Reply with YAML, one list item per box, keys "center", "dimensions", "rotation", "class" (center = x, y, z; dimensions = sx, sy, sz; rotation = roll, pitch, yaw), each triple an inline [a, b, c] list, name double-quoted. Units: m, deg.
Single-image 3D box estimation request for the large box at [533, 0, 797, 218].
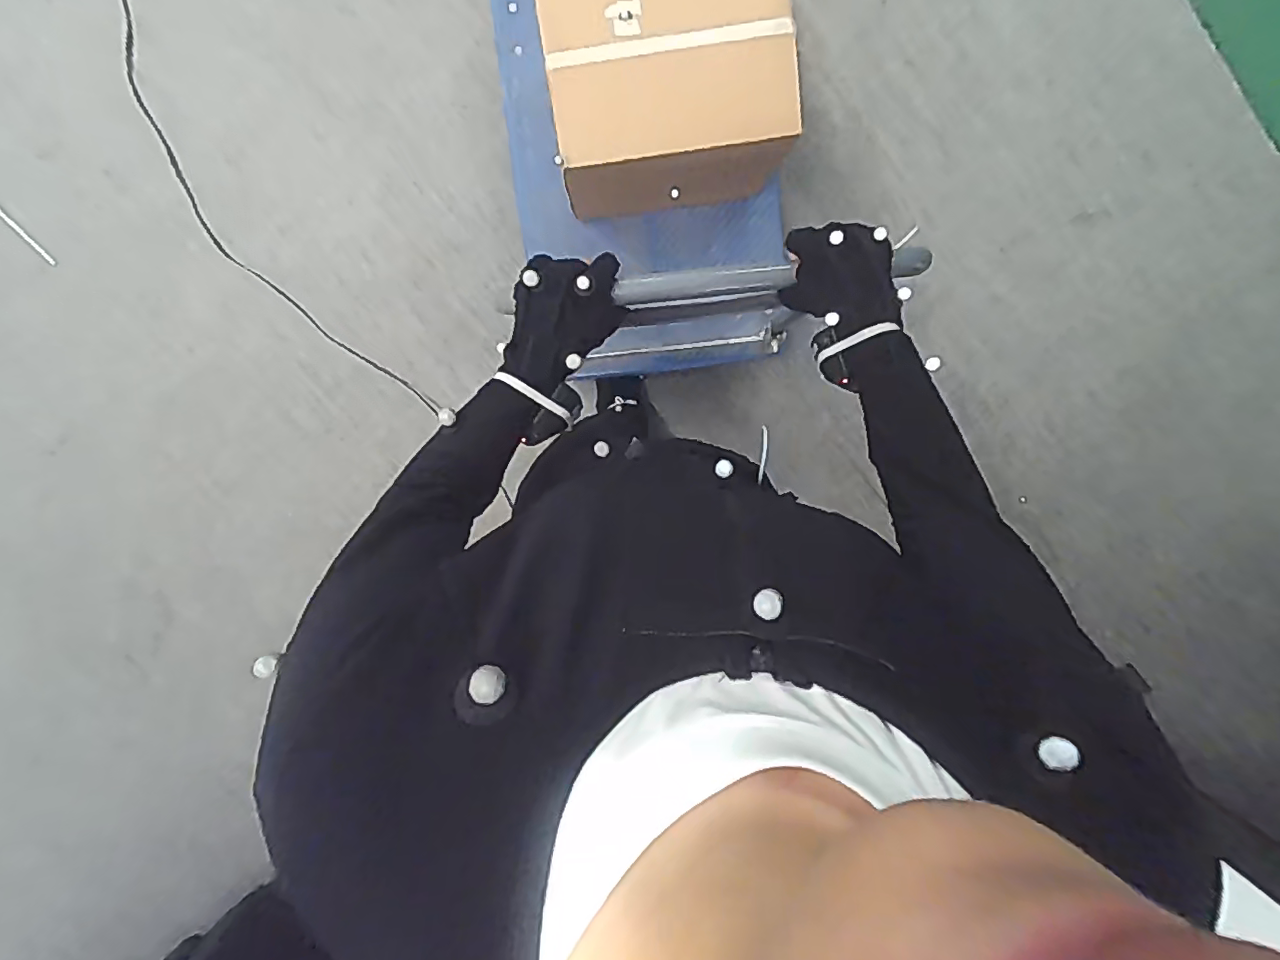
- center: [0.041, -0.724, 1.018]
  dimensions: [0.408, 0.320, 0.320]
  rotation: [-9, 100, 0]
  class: "large box"
